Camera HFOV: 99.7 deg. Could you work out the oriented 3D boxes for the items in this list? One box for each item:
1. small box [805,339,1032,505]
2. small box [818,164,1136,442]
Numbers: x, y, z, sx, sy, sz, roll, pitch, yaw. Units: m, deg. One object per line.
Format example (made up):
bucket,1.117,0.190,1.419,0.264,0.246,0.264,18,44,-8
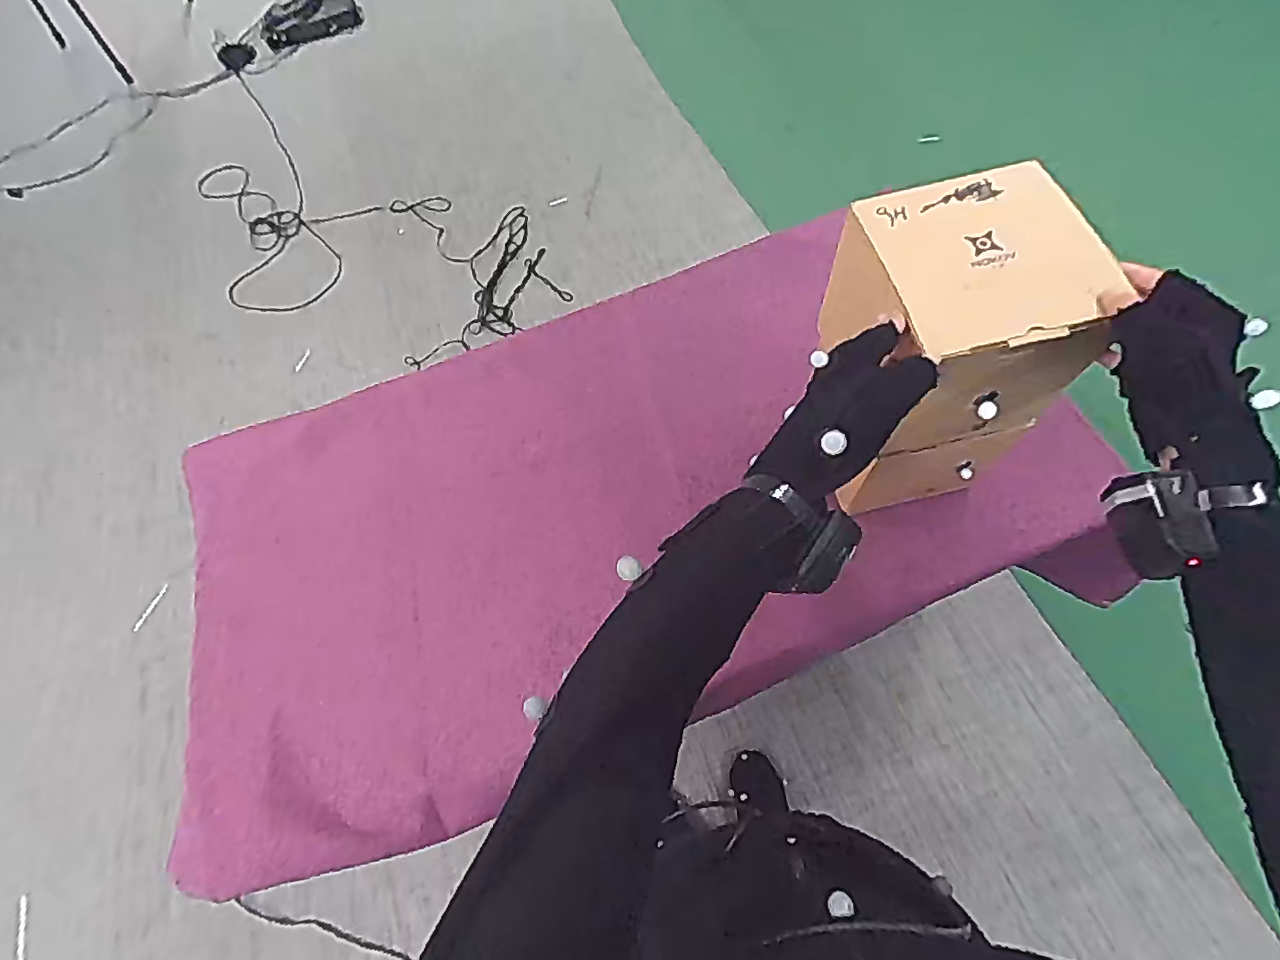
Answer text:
small box,0.314,-0.081,0.656,0.168,0.176,0.179,-13,65,2
small box,0.284,-0.149,0.509,0.168,0.176,0.179,-12,66,1
